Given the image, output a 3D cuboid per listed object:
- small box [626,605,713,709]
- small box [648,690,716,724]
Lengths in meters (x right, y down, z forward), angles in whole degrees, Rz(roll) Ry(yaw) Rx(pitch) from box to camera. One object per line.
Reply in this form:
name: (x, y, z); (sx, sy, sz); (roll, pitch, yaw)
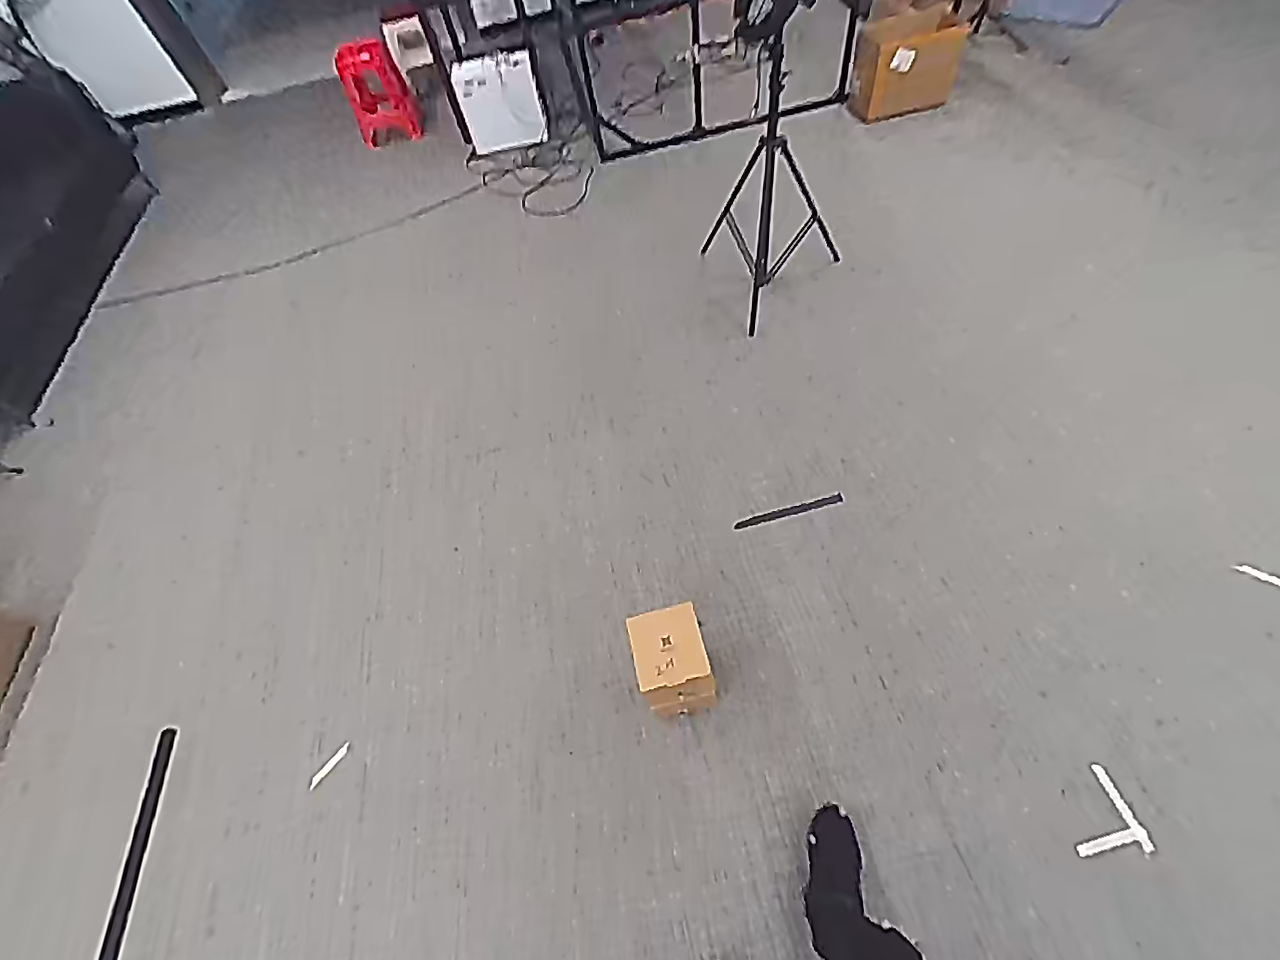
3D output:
small box: (0.073, 0.426, 1.294); (0.168, 0.176, 0.179); (-15, 57, 1)
small box: (0.098, 0.522, 1.425); (0.168, 0.176, 0.179); (-15, 56, 1)
